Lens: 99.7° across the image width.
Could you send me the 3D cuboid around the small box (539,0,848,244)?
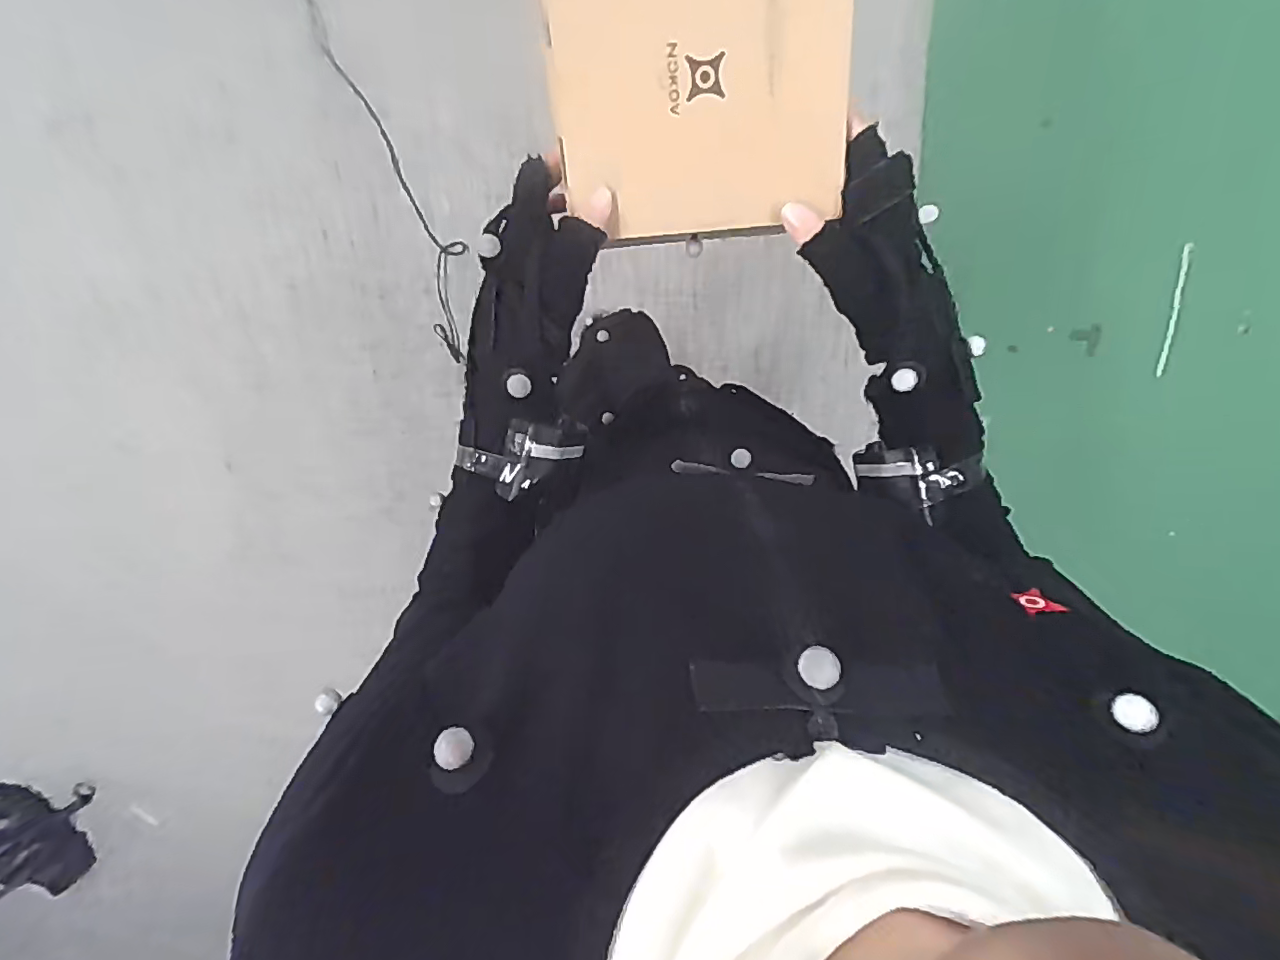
[{"bbox_3d":[0.035,-0.267,0.390,0.179,0.176,0.168,-4,113,3],"label":"small box"}]
